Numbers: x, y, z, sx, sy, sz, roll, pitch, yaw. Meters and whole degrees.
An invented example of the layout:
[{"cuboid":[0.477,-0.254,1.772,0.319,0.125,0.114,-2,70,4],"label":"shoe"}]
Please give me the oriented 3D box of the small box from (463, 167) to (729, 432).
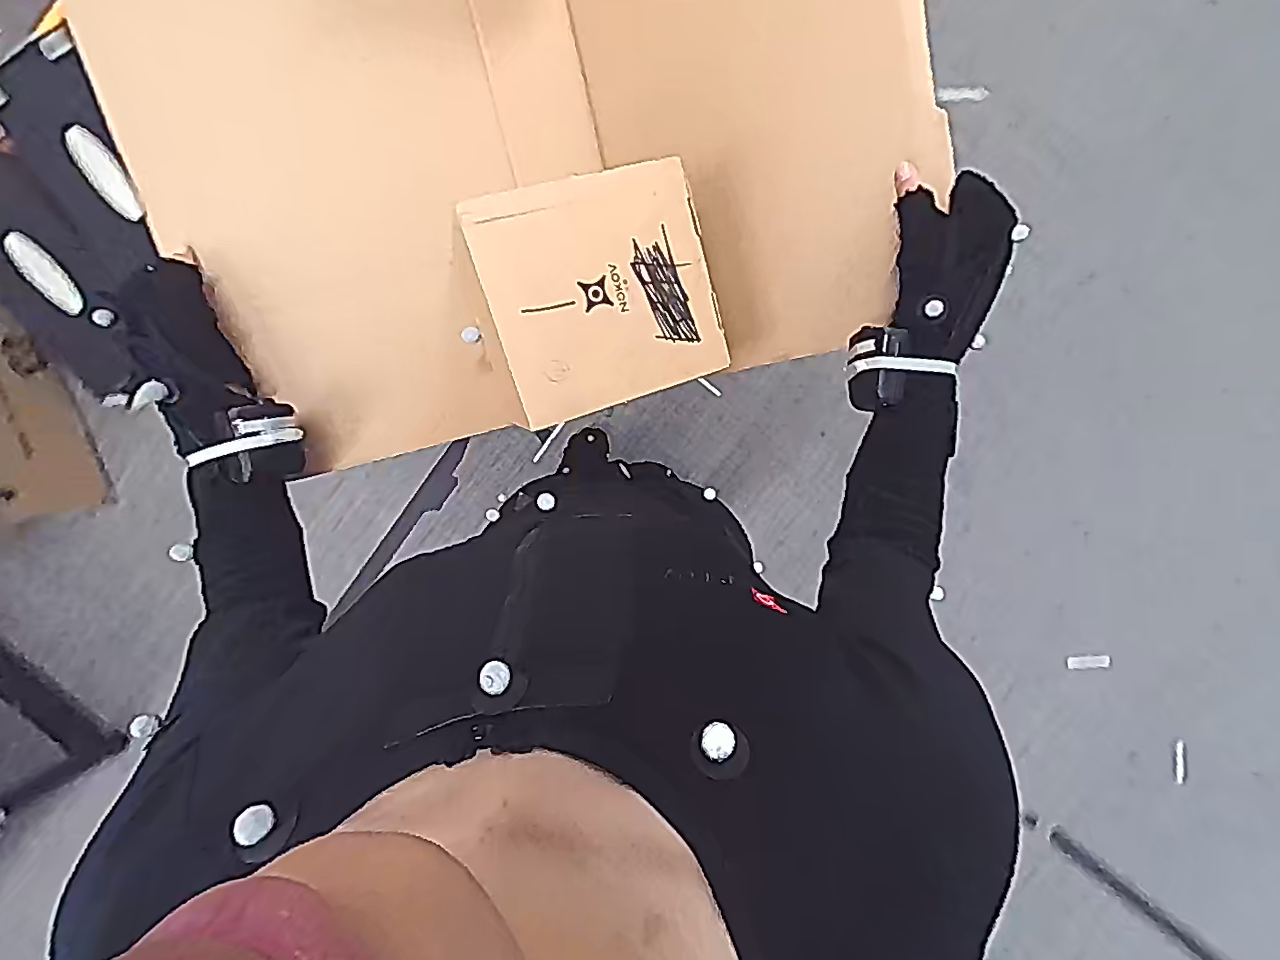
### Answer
[{"cuboid":[-0.048,-0.151,0.485,0.179,0.176,0.168,-20,105,-15],"label":"small box"}]
